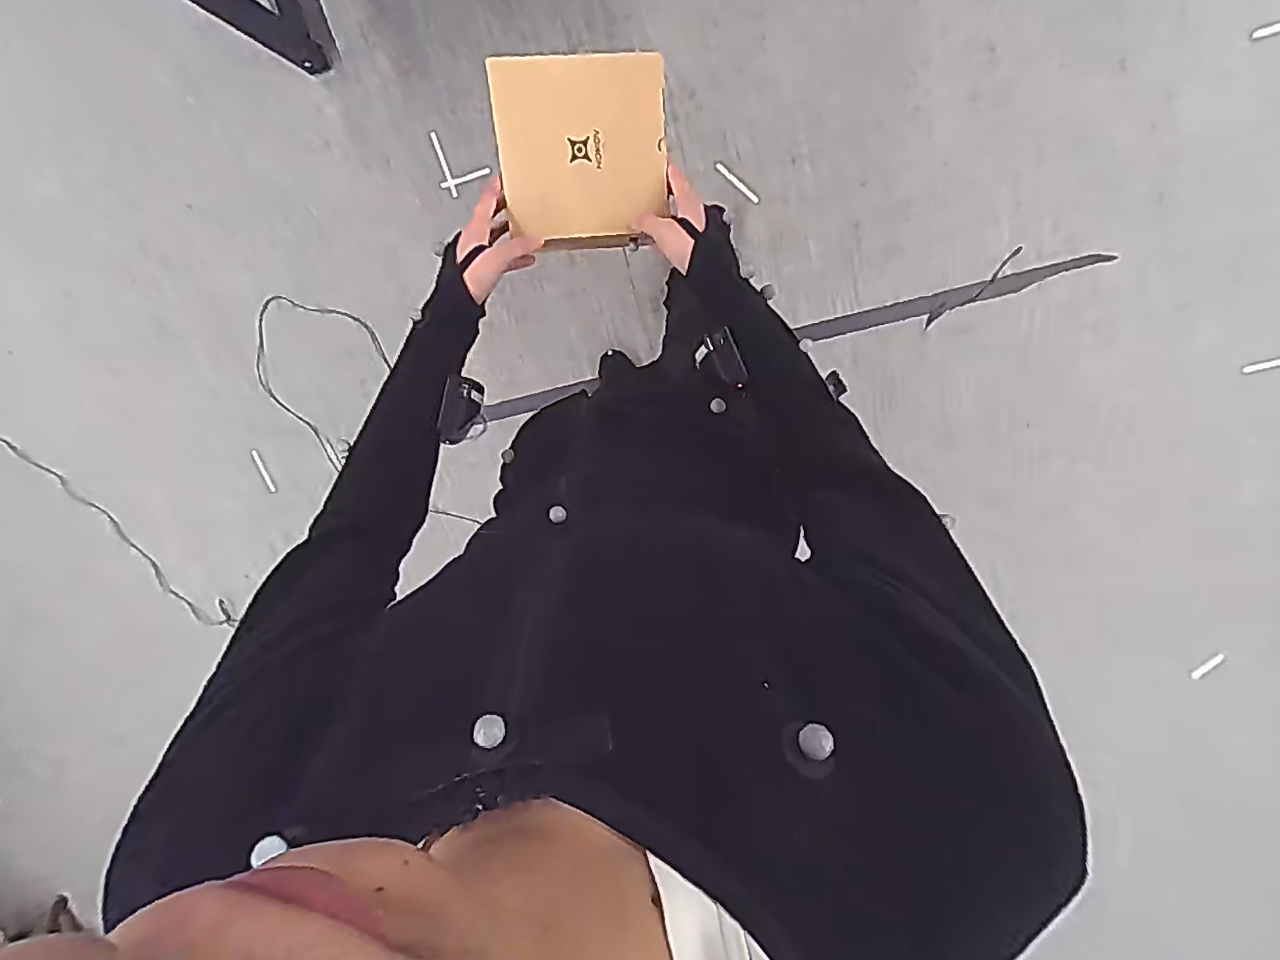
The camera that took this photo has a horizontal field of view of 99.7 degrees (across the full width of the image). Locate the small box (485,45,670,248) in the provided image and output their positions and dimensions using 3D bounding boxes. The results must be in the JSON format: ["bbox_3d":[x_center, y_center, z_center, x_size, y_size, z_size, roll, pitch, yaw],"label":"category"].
[{"bbox_3d":[-0.067,-0.367,0.624,0.179,0.176,0.168,-6,110,-6],"label":"small box"}]
